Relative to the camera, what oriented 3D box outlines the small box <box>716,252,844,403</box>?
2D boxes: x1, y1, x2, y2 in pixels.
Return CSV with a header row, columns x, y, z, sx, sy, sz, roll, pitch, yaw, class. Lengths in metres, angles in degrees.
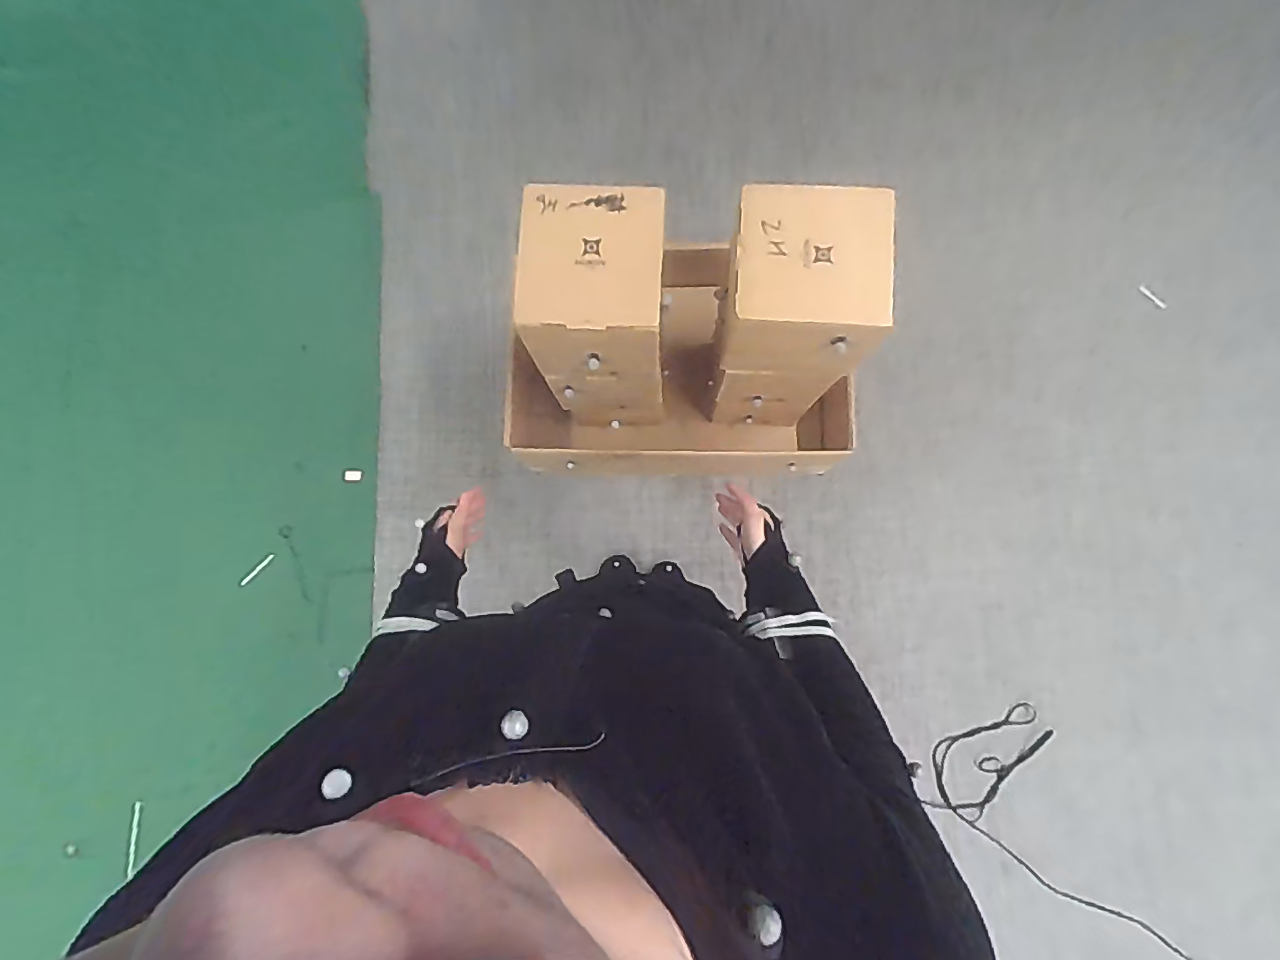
x,y,z,sx,sy,sz,roll,pitch,yaw,class
0.209,-0.230,0.846,0.168,0.176,0.179,3,84,4,small box
